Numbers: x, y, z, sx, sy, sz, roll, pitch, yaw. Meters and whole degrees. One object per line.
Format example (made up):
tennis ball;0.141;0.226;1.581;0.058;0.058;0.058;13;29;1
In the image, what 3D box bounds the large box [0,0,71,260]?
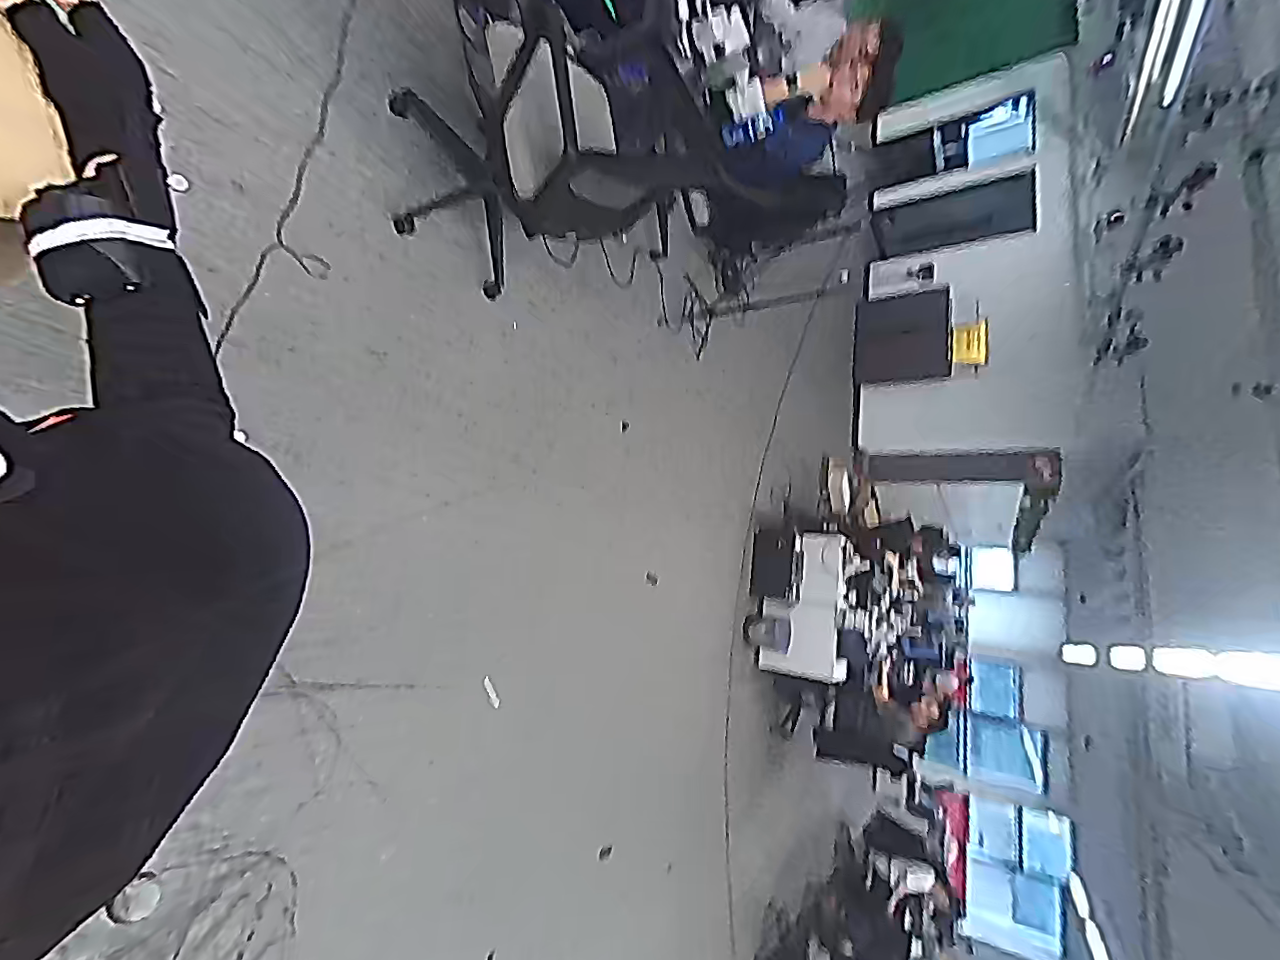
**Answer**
large box;-0.663;-0.305;0.285;0.408;0.320;0.320;-23;113;-55
